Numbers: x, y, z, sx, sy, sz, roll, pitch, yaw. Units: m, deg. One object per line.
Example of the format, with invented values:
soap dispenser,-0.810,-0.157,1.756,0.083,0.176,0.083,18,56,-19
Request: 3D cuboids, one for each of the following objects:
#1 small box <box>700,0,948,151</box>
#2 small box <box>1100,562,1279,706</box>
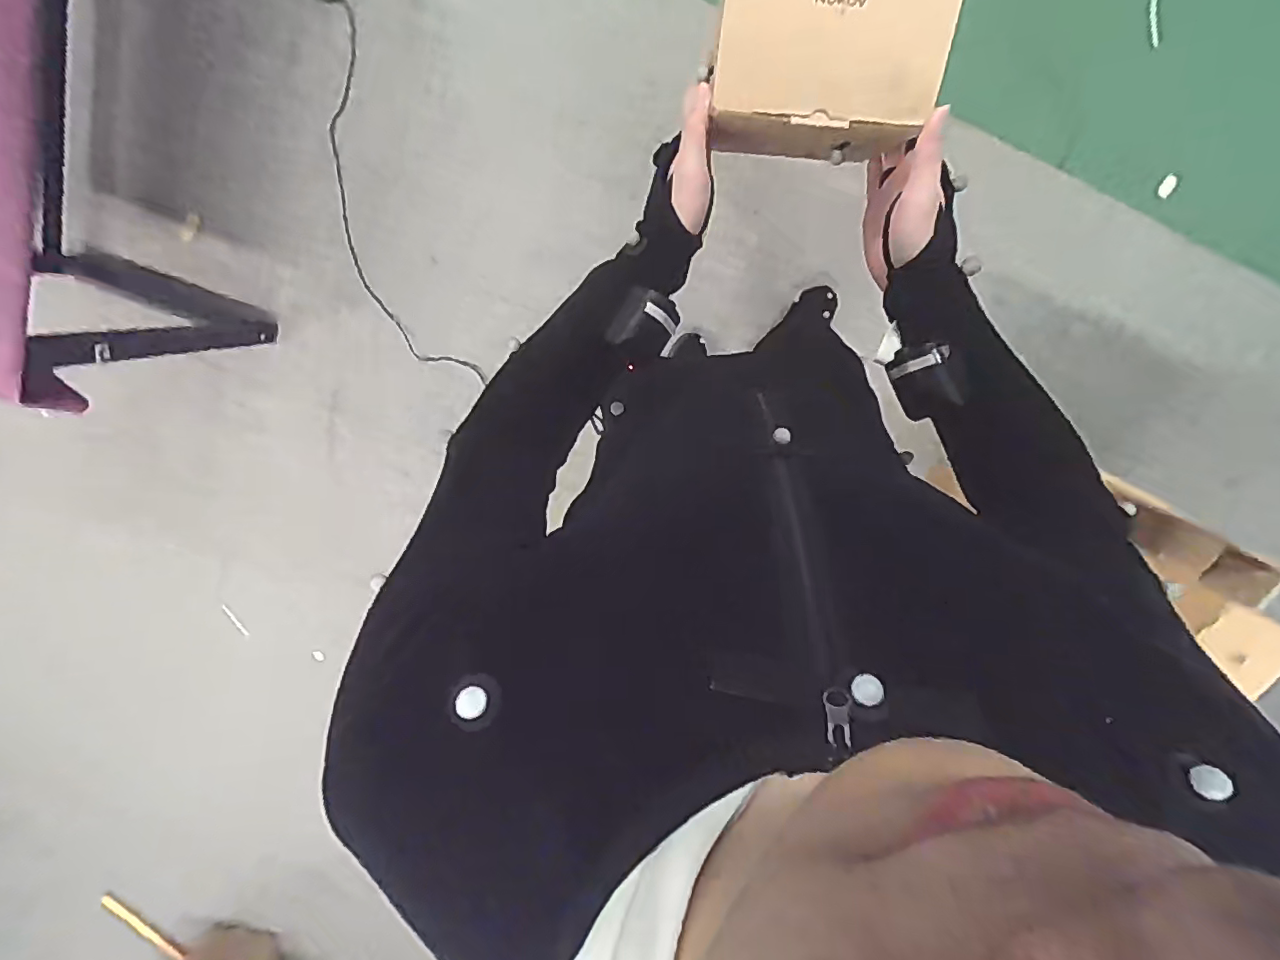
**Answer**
small box,0.140,-0.386,0.446,0.168,0.176,0.179,5,113,2
small box,1.048,0.281,1.022,0.179,0.176,0.168,26,108,-4
